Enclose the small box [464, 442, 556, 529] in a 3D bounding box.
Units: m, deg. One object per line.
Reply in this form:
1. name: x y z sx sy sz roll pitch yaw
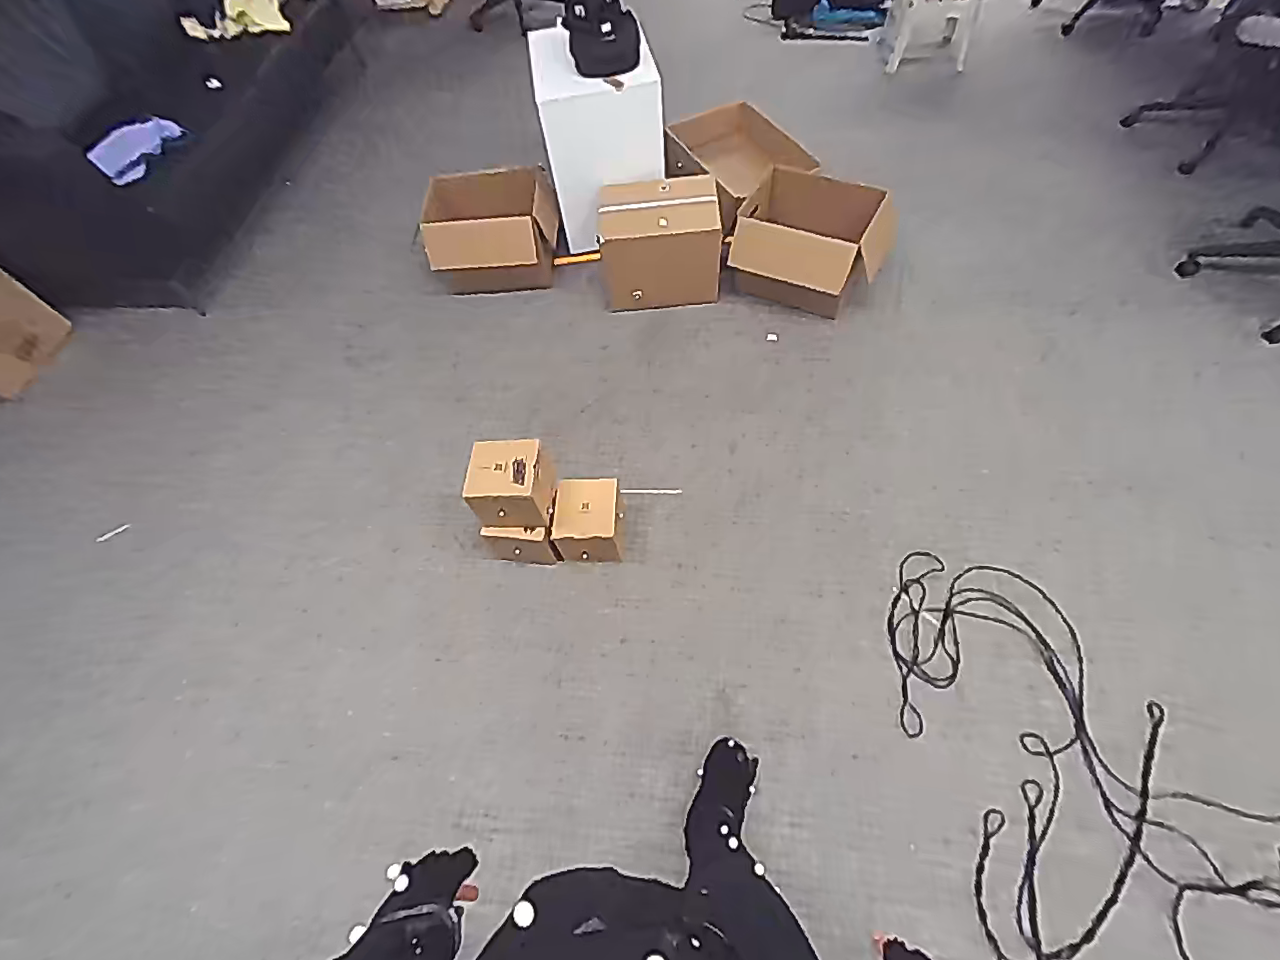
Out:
1. small box: -0.323 0.017 1.389 0.179 0.176 0.168 -1 59 7
